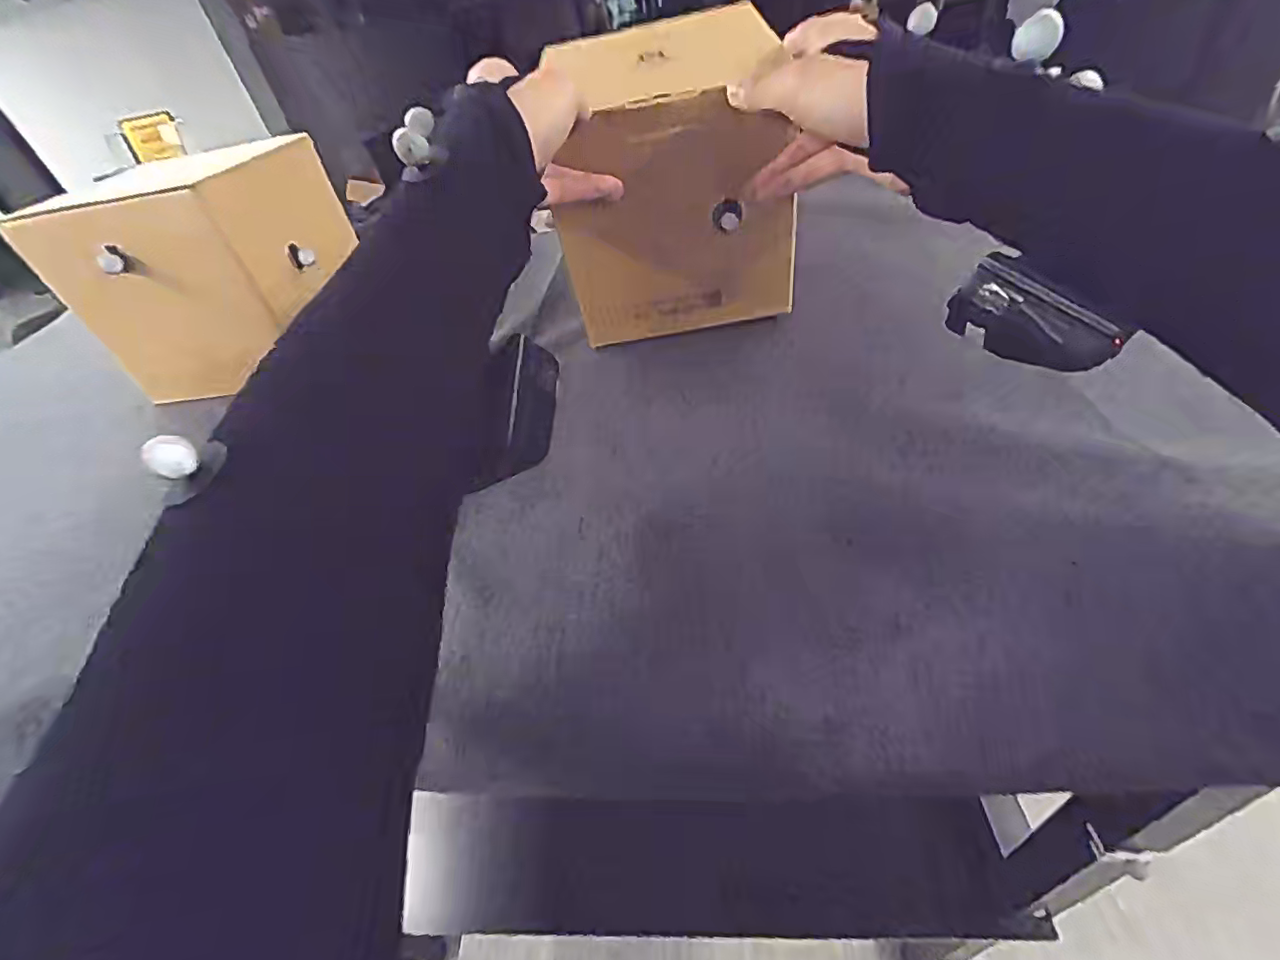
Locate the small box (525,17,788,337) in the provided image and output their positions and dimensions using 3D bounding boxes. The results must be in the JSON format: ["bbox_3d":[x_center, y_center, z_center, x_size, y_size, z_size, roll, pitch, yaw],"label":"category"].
[{"bbox_3d":[0.019,-0.231,0.436,0.168,0.176,0.179,-8,50,5],"label":"small box"}]

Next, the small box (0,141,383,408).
[{"bbox_3d":[-0.376,-0.185,0.499,0.179,0.176,0.168,-6,42,8],"label":"small box"}]
